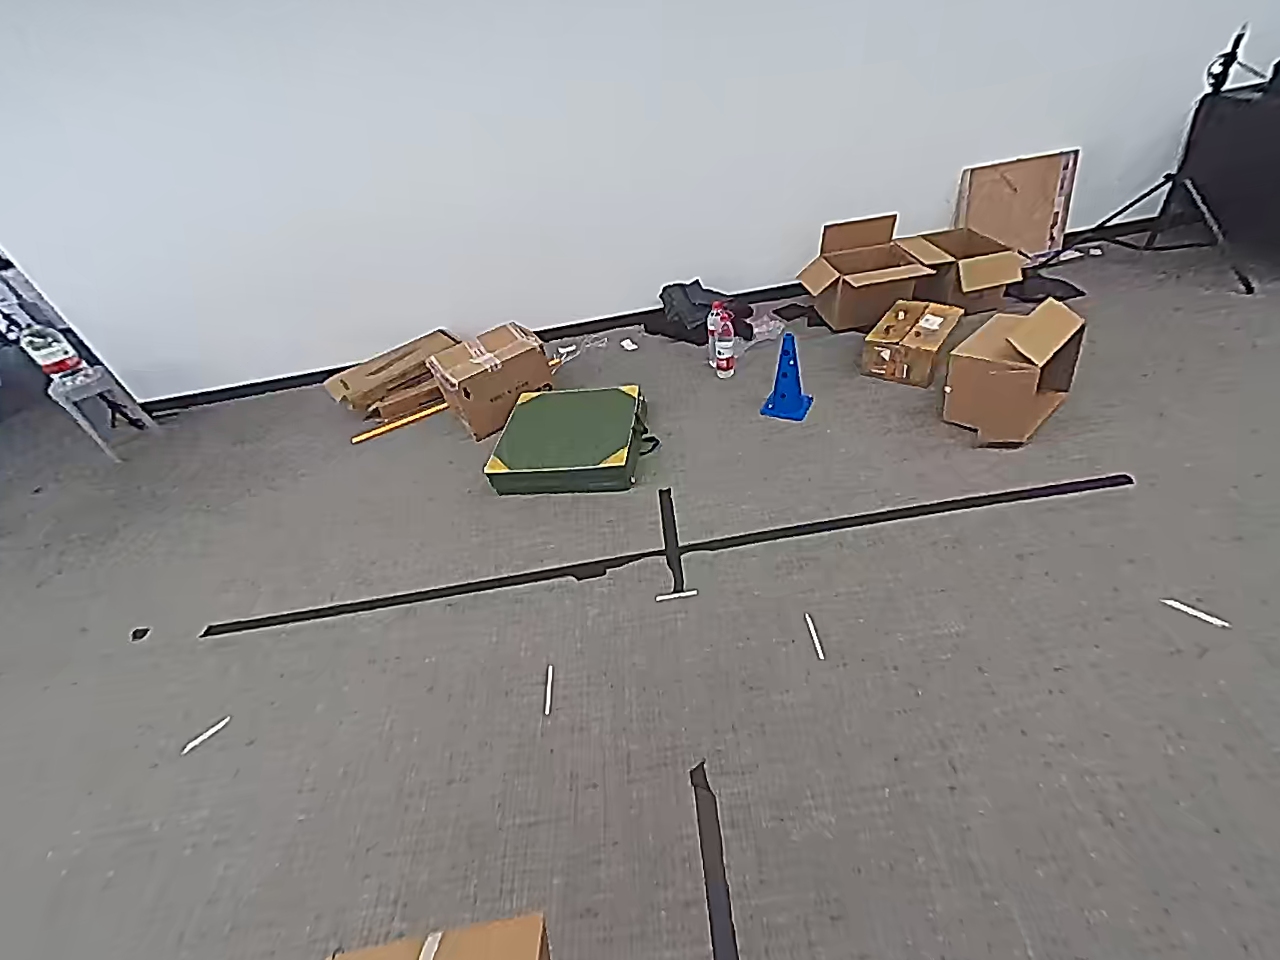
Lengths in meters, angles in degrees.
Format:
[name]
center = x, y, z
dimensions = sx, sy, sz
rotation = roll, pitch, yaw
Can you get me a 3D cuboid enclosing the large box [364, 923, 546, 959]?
[large box]
center = -0.255, 0.822, 0.589
dimensions = 0.320, 0.320, 0.408
rotation = -8, -1, -4
